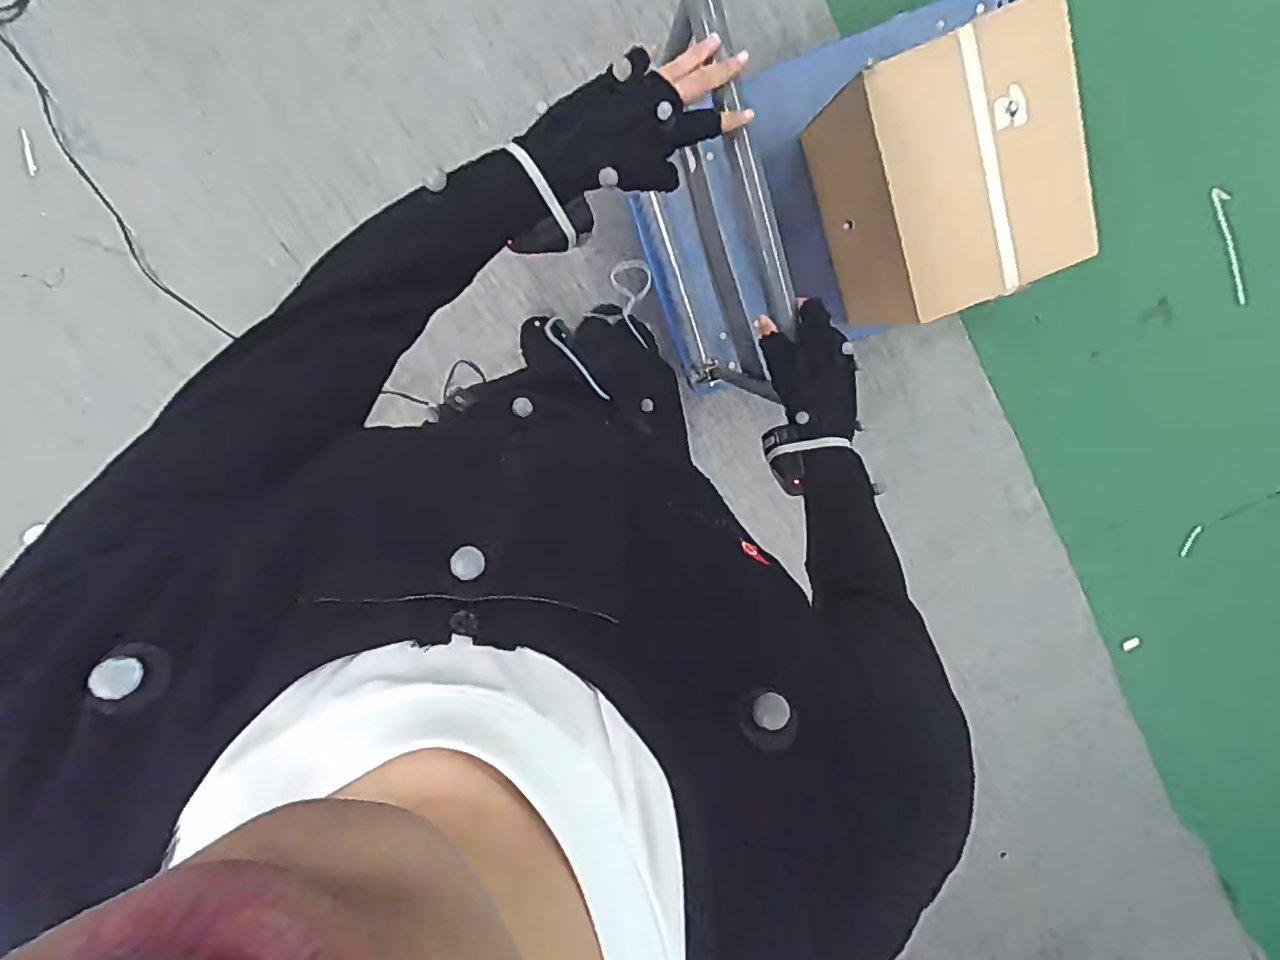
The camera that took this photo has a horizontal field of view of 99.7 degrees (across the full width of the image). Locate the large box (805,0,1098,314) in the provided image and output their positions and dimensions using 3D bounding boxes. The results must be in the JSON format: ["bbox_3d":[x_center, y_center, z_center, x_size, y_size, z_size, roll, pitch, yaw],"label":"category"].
[{"bbox_3d":[0.549,-0.561,1.007,0.320,0.320,0.408,-22,106,5],"label":"large box"}]
